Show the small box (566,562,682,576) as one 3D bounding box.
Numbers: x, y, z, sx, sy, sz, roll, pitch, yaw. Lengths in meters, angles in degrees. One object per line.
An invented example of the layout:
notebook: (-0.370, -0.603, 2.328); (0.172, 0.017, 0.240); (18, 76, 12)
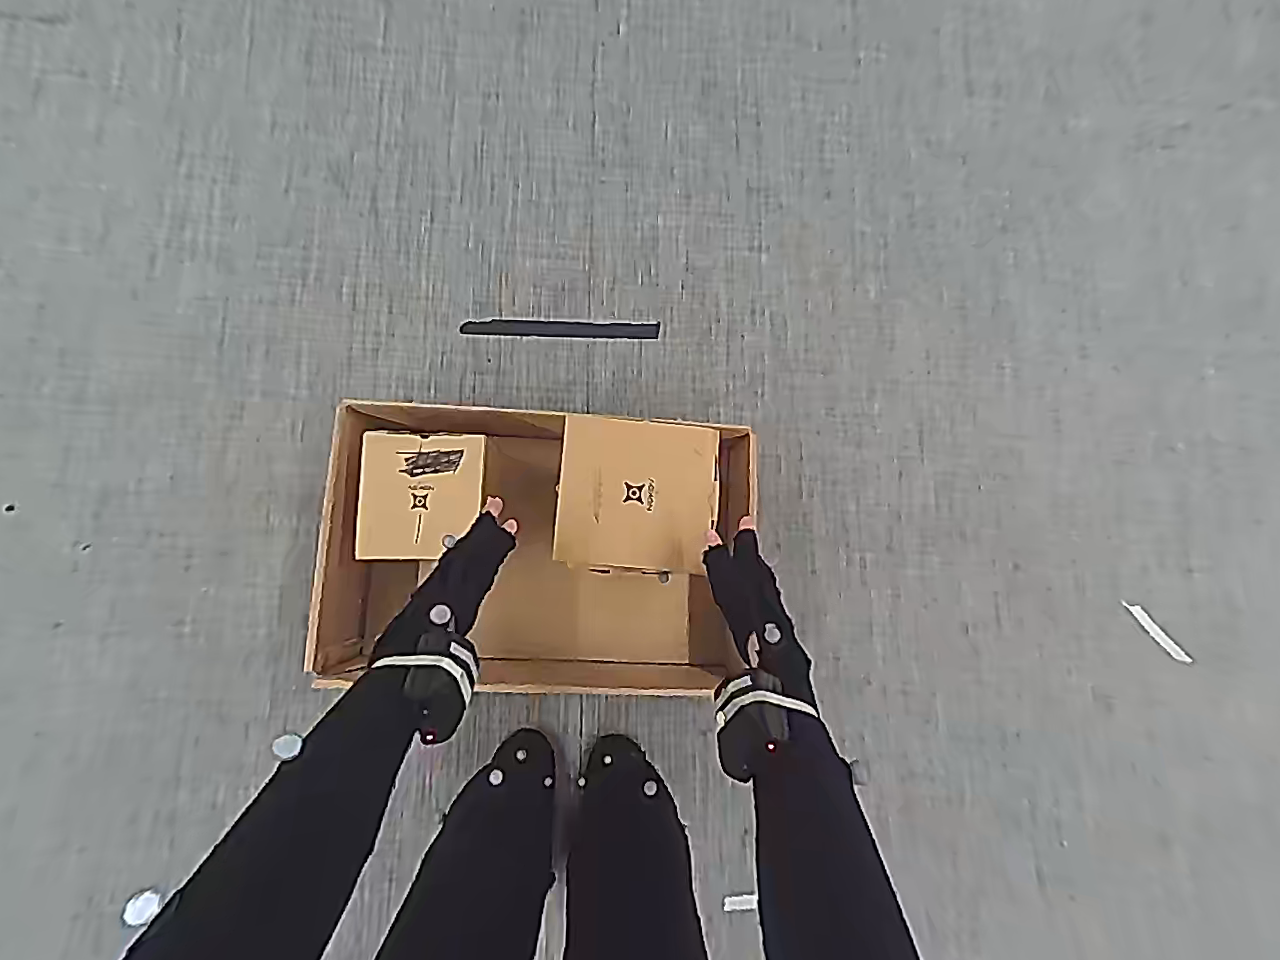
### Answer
small box: (-0.020, 0.050, 0.835); (0.168, 0.176, 0.179); (3, 84, -4)

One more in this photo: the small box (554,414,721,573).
small box: (-0.005, 0.025, 0.675); (0.179, 0.176, 0.168); (4, 81, -2)
